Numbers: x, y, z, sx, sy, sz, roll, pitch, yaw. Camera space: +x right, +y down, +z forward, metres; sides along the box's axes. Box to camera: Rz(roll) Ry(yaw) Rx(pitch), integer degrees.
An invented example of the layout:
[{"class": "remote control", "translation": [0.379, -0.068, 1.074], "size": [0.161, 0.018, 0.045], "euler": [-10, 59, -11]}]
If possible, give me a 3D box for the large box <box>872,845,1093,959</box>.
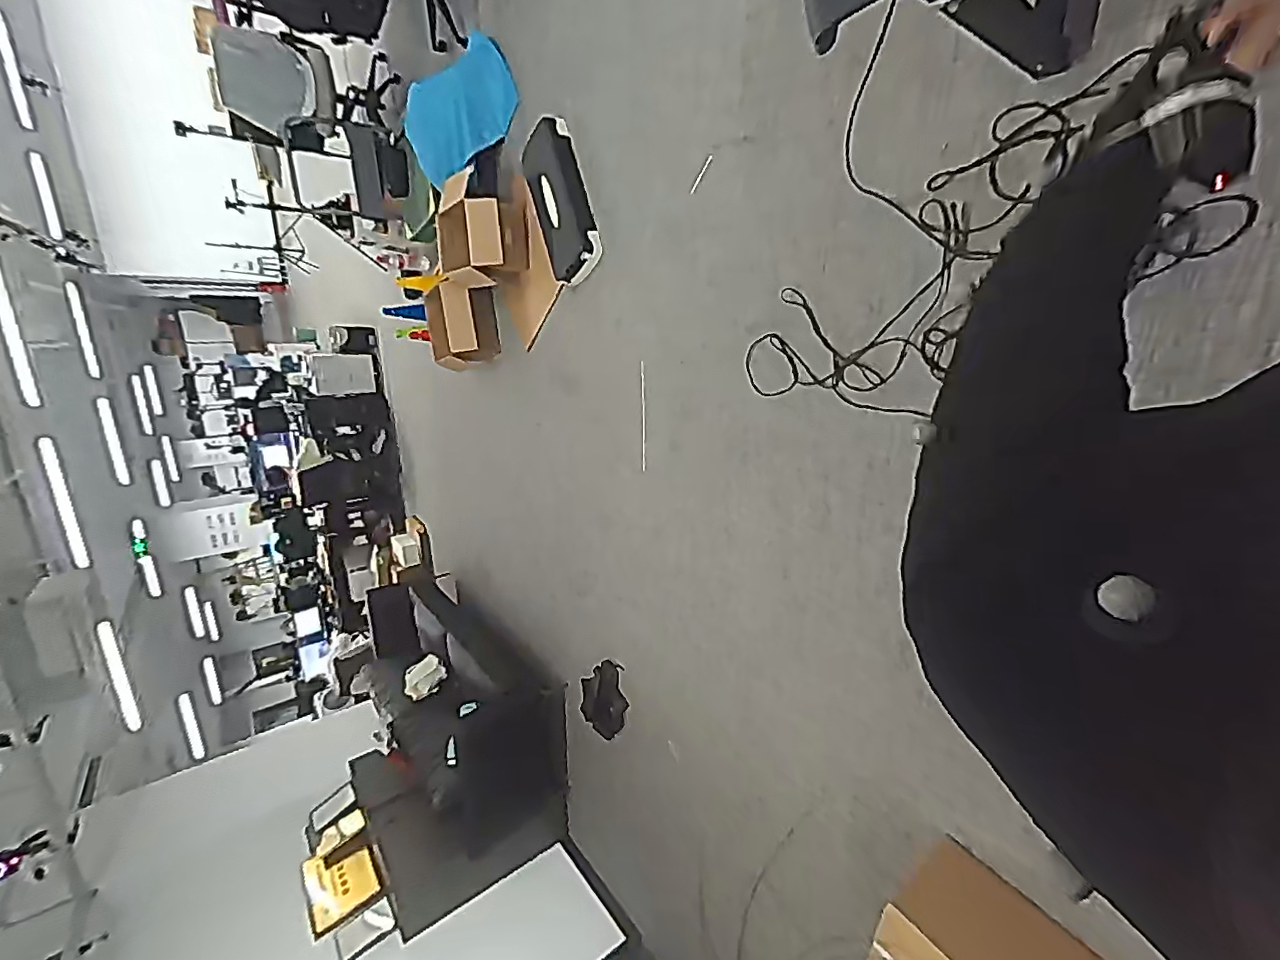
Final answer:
[{"class": "large box", "translation": [0.848, 1.236, 1.329], "size": [0.408, 0.320, 0.320], "euler": [29, 122, 47]}]
